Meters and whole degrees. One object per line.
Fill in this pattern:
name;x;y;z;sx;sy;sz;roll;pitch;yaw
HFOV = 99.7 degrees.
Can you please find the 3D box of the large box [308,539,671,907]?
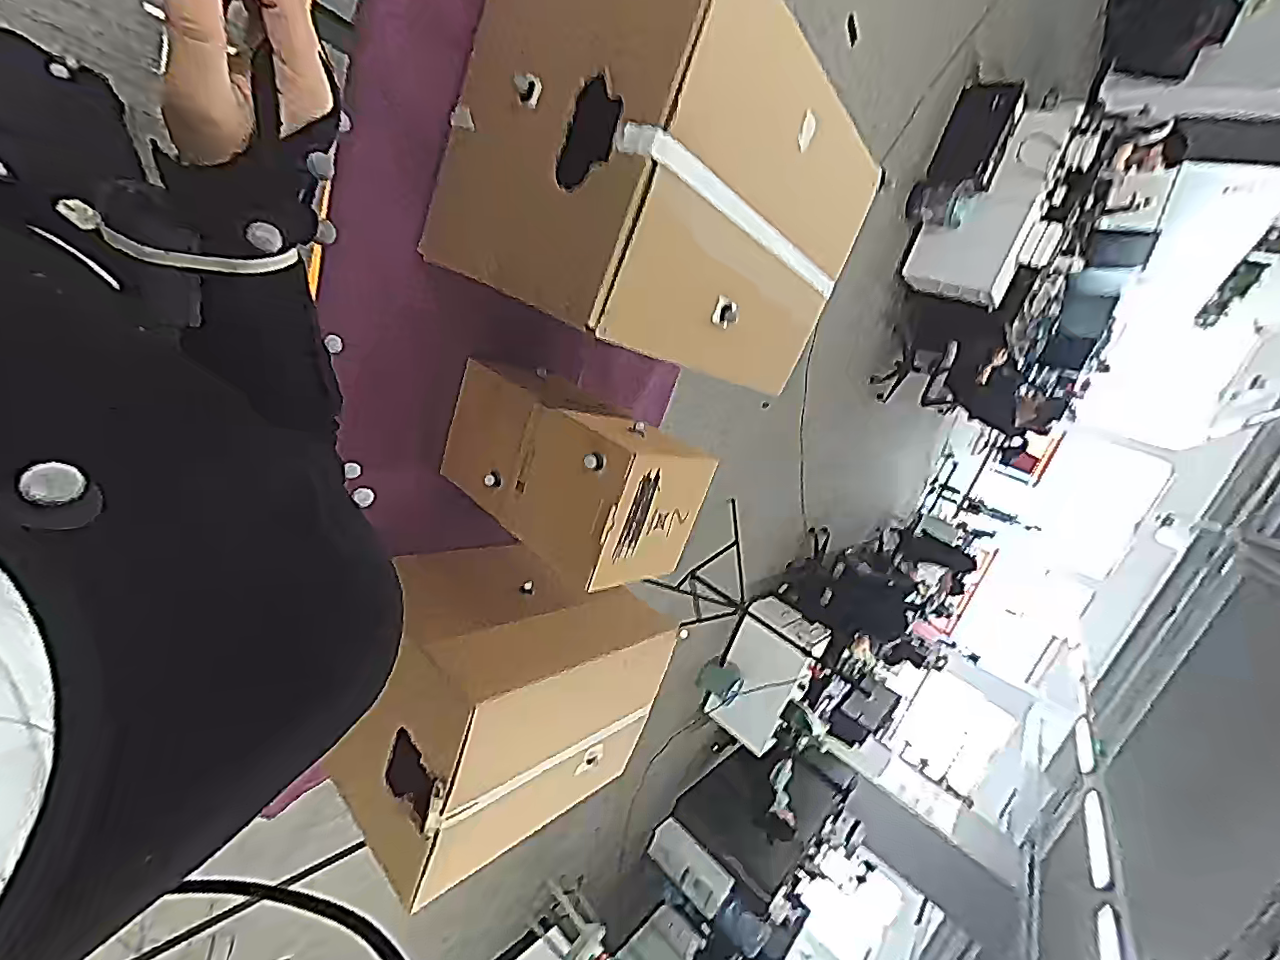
large box;-0.224;0.308;0.840;0.408;0.320;0.320;0;115;-54
